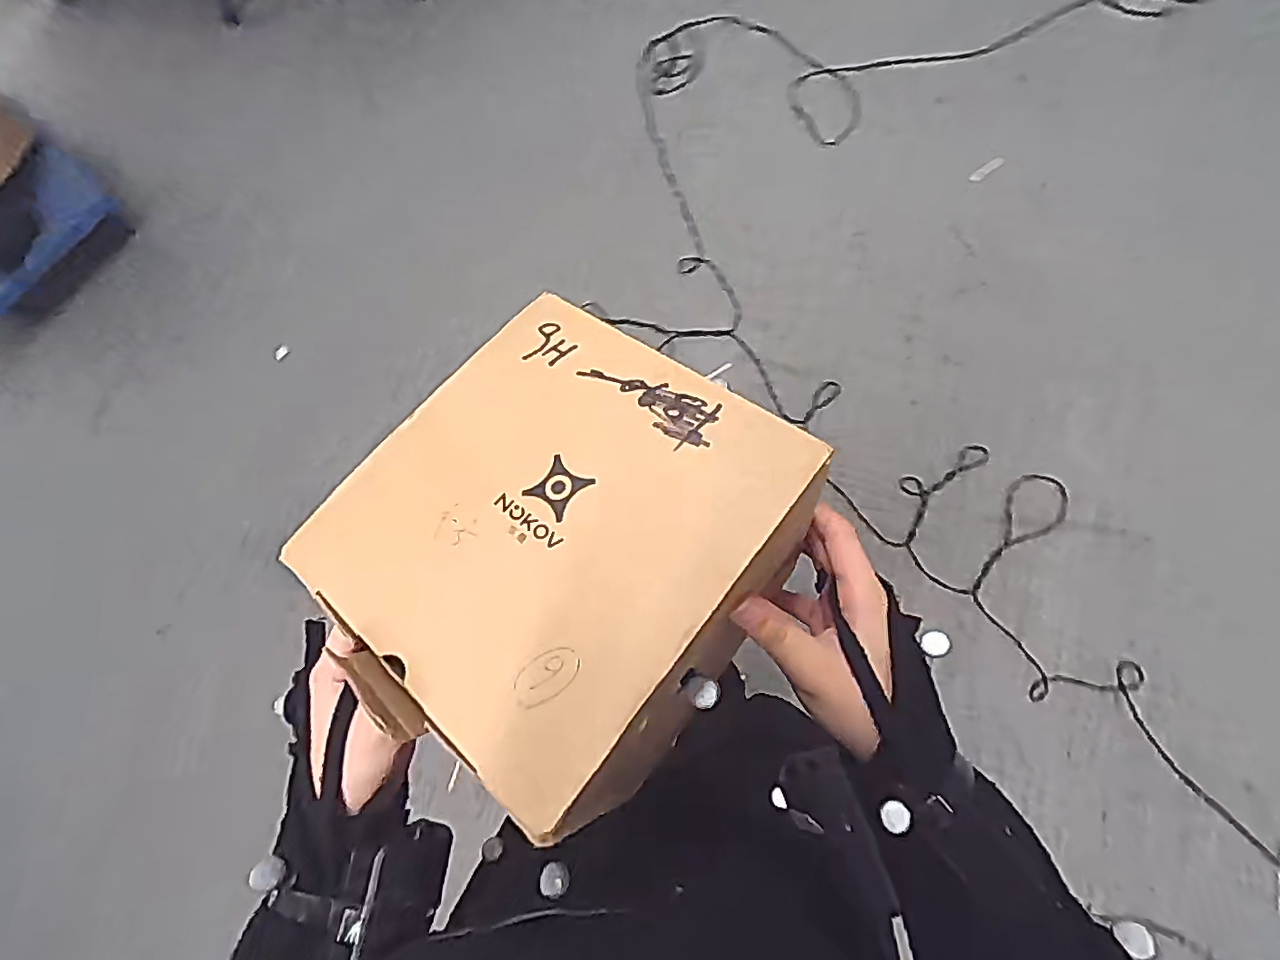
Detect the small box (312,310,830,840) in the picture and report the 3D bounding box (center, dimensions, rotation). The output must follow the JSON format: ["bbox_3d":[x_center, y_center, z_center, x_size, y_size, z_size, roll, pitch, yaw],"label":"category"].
[{"bbox_3d":[-0.021,0.050,0.301,0.168,0.176,0.179,35,75,23],"label":"small box"}]
